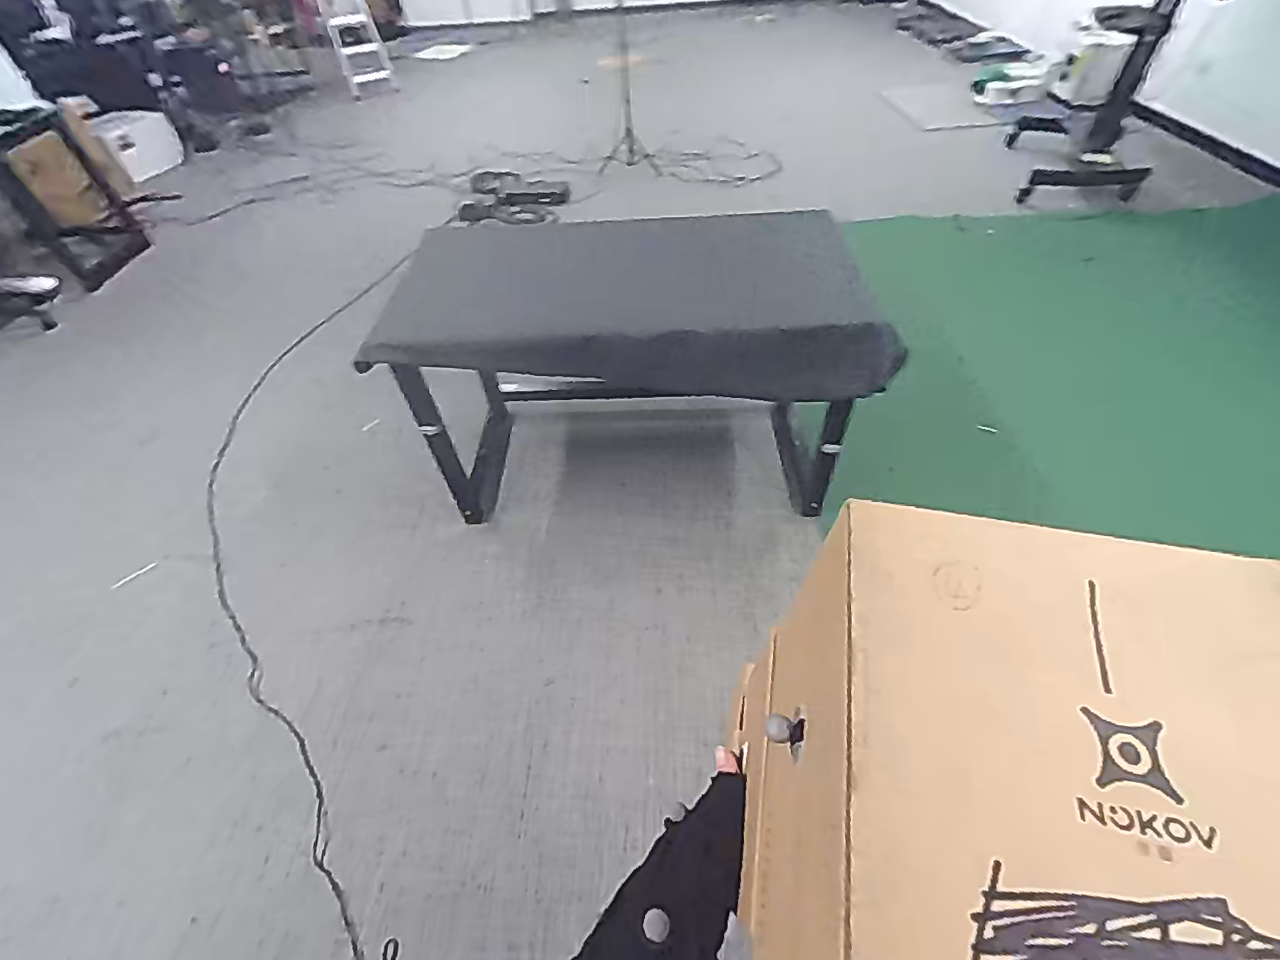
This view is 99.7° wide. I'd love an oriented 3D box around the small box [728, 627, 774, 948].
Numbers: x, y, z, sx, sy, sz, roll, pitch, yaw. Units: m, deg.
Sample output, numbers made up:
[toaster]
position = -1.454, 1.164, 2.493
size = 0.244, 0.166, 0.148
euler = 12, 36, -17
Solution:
[small box]
position = 0.159, 0.212, 0.367
size = 0.179, 0.176, 0.168
euler = 4, 57, 5
